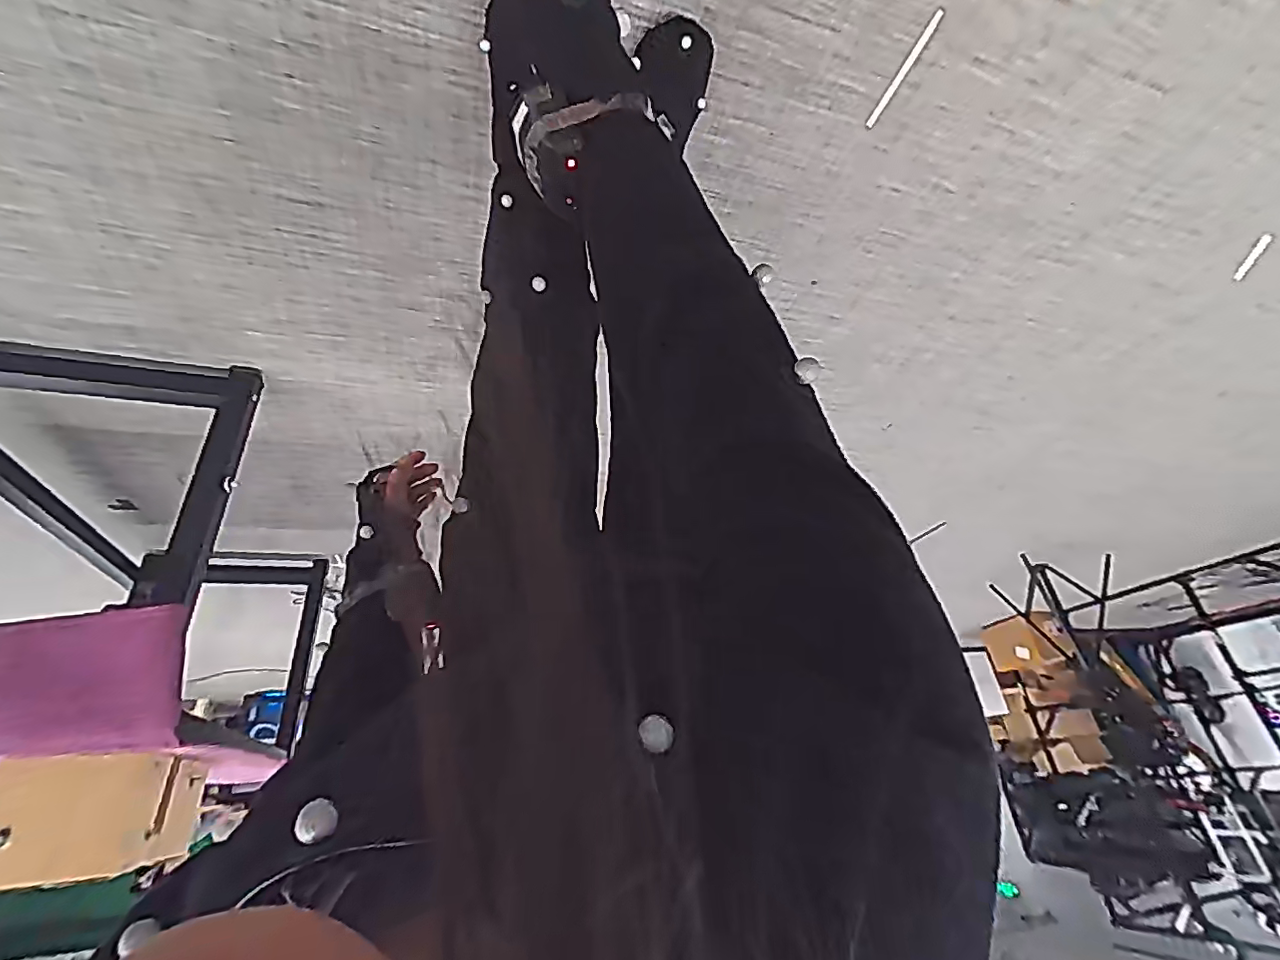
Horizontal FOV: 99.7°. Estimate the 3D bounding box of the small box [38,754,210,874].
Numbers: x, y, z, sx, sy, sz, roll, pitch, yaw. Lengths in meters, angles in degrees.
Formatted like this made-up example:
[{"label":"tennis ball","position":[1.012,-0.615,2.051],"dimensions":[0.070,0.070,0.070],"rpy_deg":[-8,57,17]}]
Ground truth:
[{"label":"small box","position":[-0.953,0.620,1.021],"dimensions":[0.168,0.176,0.179],"rpy_deg":[4,149,-19]}]
